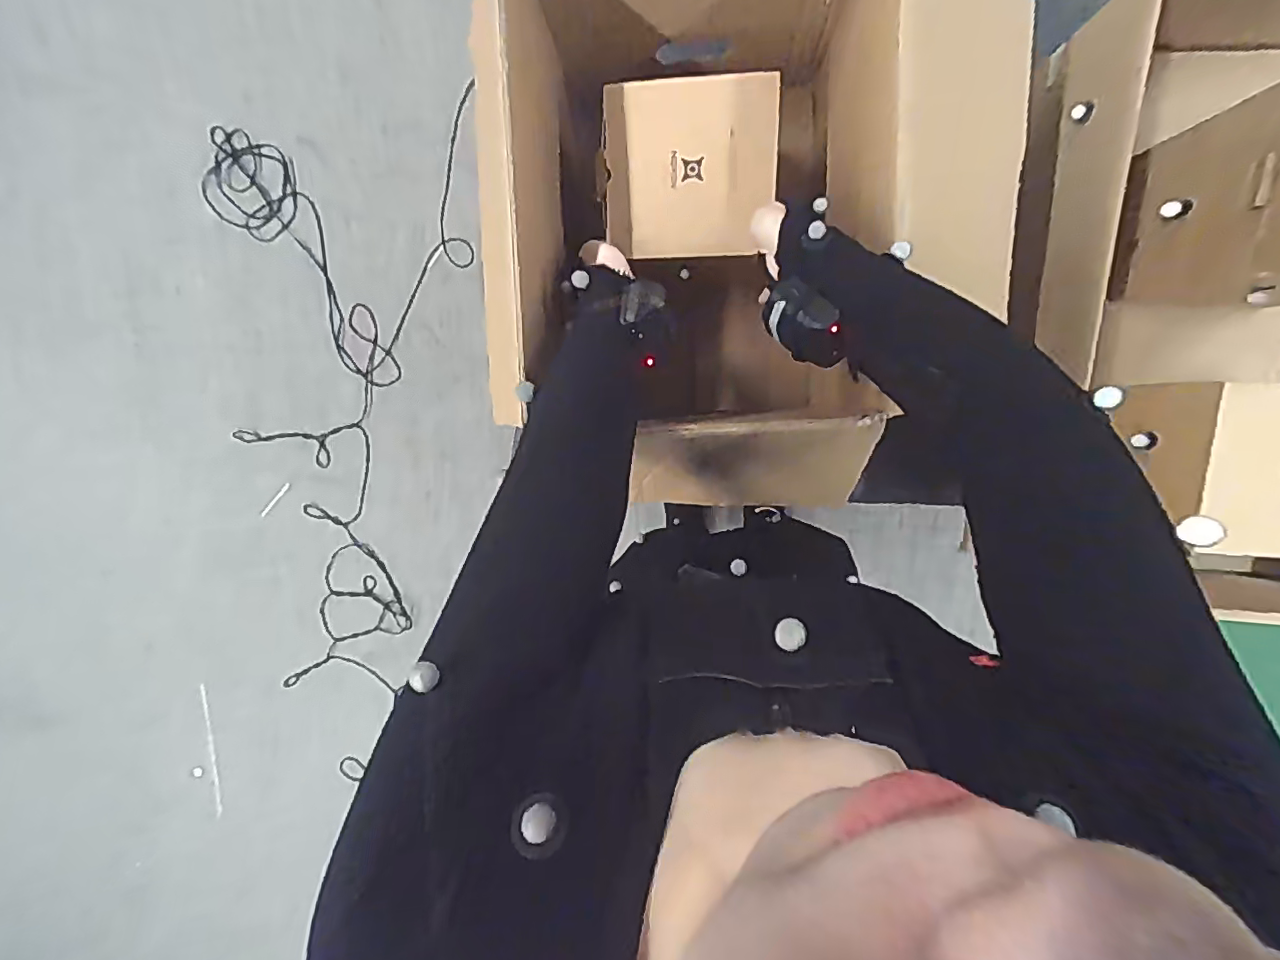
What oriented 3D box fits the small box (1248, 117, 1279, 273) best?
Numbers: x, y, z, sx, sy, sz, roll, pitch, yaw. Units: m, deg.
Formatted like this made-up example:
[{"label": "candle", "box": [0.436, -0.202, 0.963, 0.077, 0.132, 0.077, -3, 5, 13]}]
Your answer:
[{"label": "small box", "box": [0.620, -0.254, 0.390, 0.168, 0.176, 0.179, 4, 102, 4]}]
